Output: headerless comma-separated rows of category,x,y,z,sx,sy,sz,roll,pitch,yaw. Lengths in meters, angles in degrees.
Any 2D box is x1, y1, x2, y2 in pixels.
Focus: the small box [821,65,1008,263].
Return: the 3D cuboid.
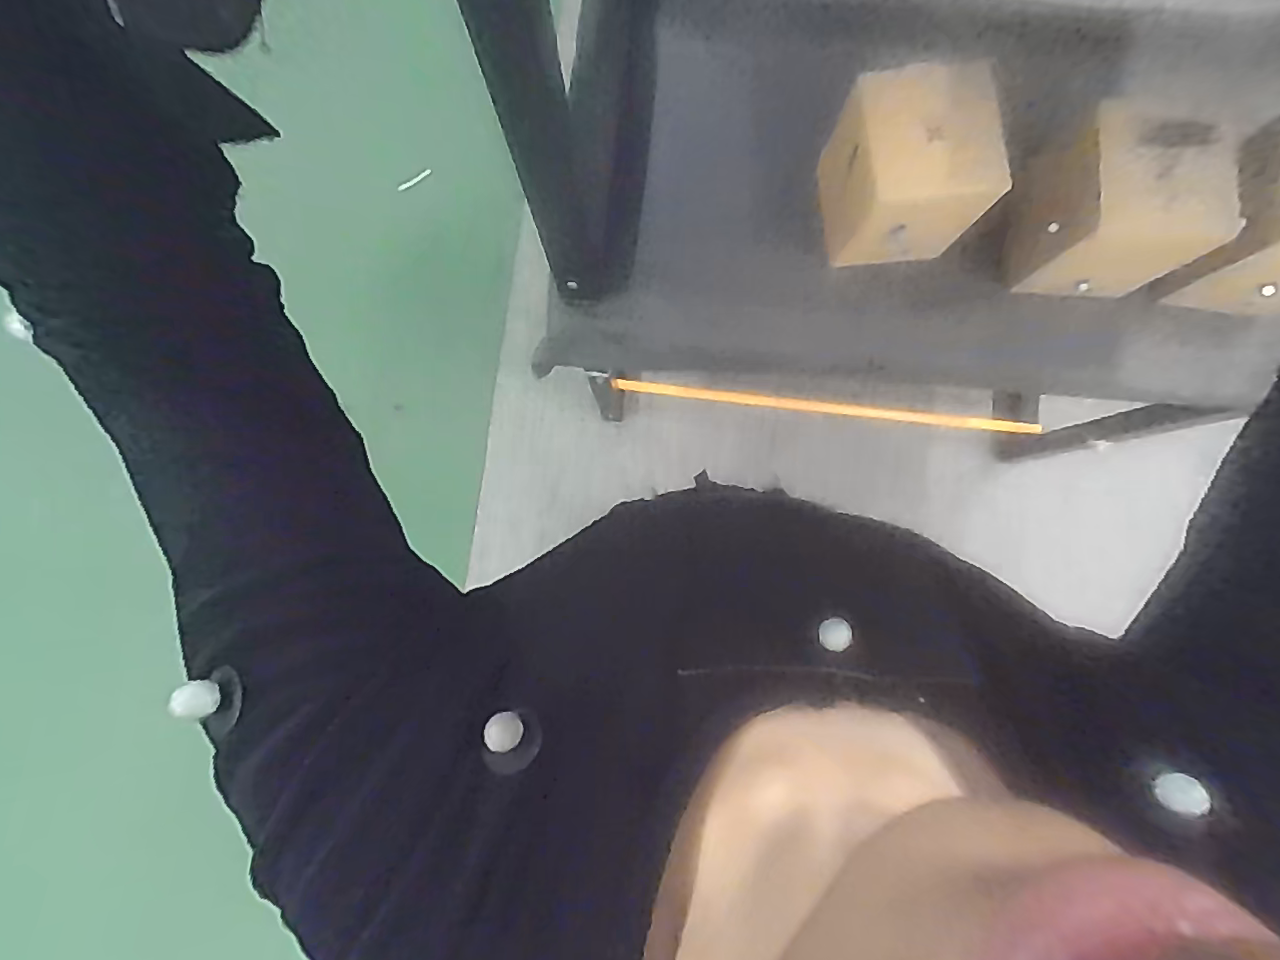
small box,0.362,-0.418,0.746,0.168,0.176,0.179,-5,83,0
